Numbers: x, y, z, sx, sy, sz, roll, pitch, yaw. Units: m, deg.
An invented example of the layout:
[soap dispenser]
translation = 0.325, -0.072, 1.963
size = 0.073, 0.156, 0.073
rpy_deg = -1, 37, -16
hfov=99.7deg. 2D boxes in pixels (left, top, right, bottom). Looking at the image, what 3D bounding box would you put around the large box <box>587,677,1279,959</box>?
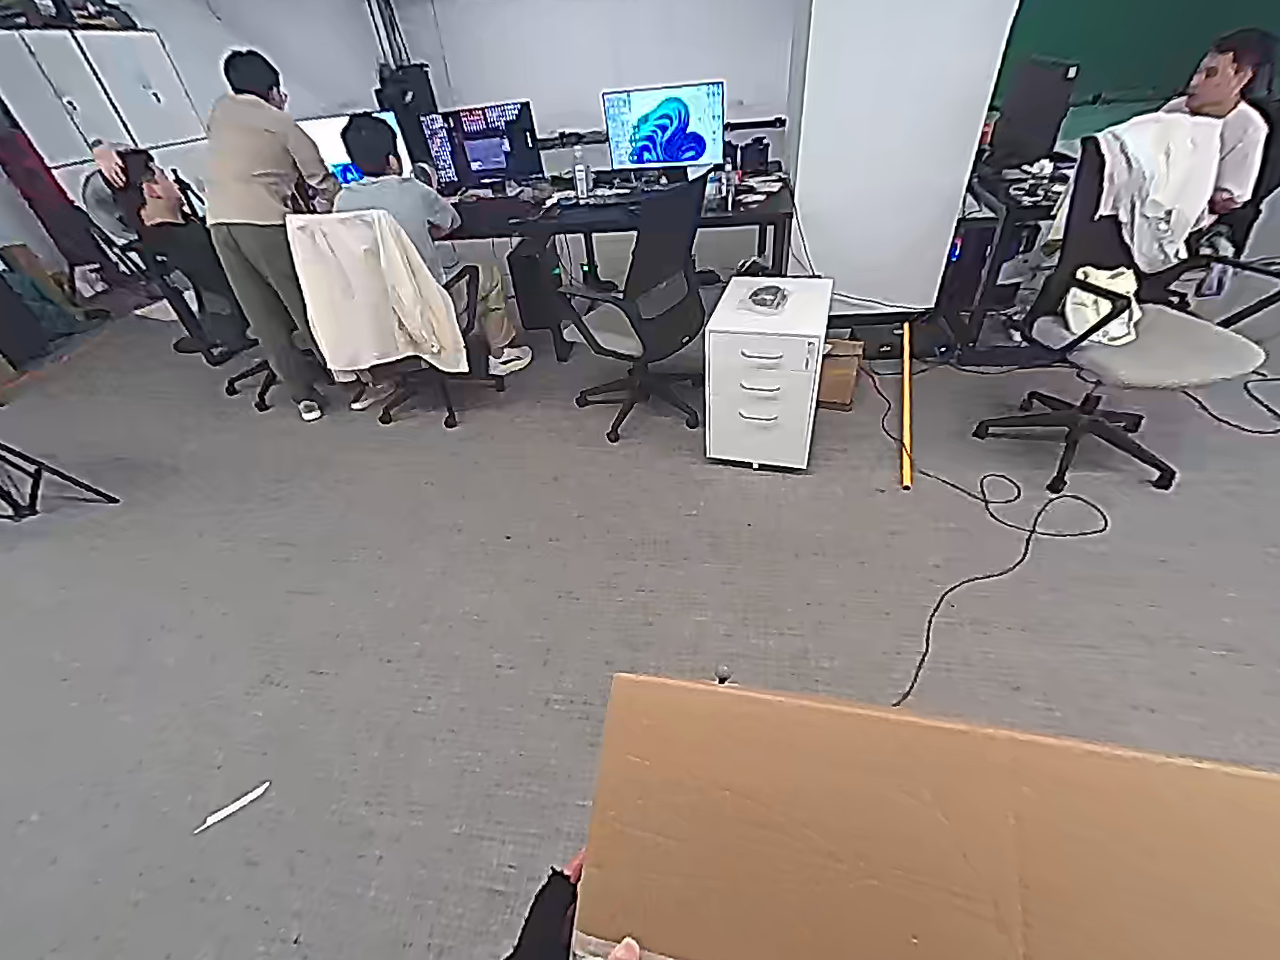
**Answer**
[large box]
translation = 0.189, 0.343, 0.423
size = 0.408, 0.320, 0.320
rpy_deg = 4, 72, 14
